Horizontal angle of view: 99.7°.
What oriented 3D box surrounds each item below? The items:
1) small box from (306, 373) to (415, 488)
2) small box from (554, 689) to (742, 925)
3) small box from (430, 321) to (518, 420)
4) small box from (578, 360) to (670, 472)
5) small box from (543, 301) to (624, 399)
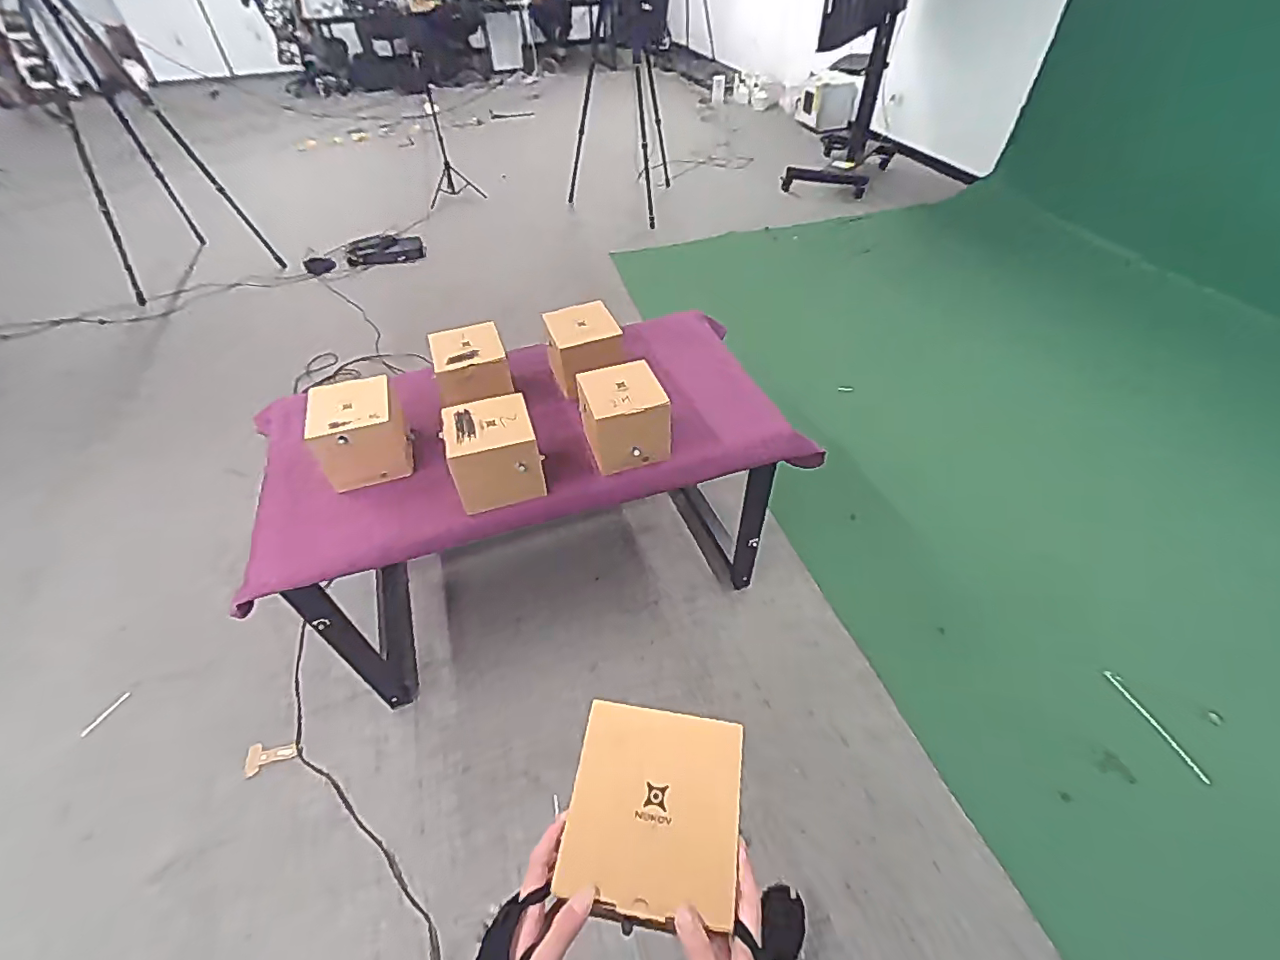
[{"bbox_3d":[-0.620,-0.111,1.217,0.168,0.176,0.179,-15,48,-11],"label":"small box"},{"bbox_3d":[0.014,0.358,0.592,0.168,0.176,0.179,7,49,6],"label":"small box"},{"bbox_3d":[-0.415,-0.269,1.361,0.168,0.176,0.179,-16,48,-13],"label":"small box"},{"bbox_3d":[-0.038,-0.145,1.236,0.168,0.176,0.179,-15,48,-11],"label":"small box"},{"bbox_3d":[-0.146,-0.340,1.423,0.168,0.176,0.179,-17,50,-13],"label":"small box"}]
